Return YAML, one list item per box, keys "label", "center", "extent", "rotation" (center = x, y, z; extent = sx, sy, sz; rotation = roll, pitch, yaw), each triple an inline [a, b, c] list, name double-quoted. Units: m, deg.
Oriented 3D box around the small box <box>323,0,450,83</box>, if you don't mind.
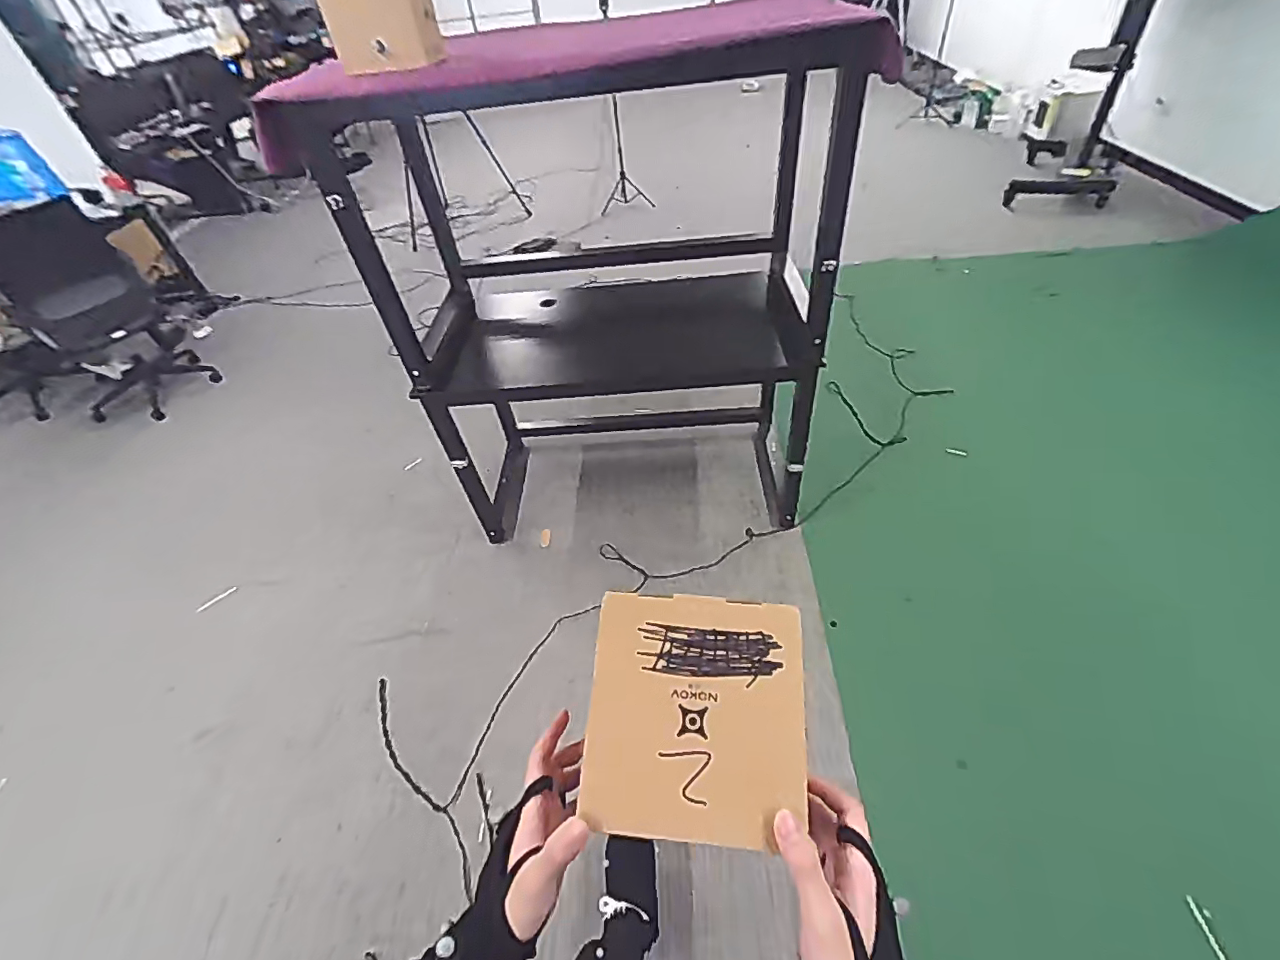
- label: "small box"
  center: [-0.510, -0.932, 1.102]
  extent: [0.179, 0.176, 0.168]
  rotation: [-5, 44, 3]
